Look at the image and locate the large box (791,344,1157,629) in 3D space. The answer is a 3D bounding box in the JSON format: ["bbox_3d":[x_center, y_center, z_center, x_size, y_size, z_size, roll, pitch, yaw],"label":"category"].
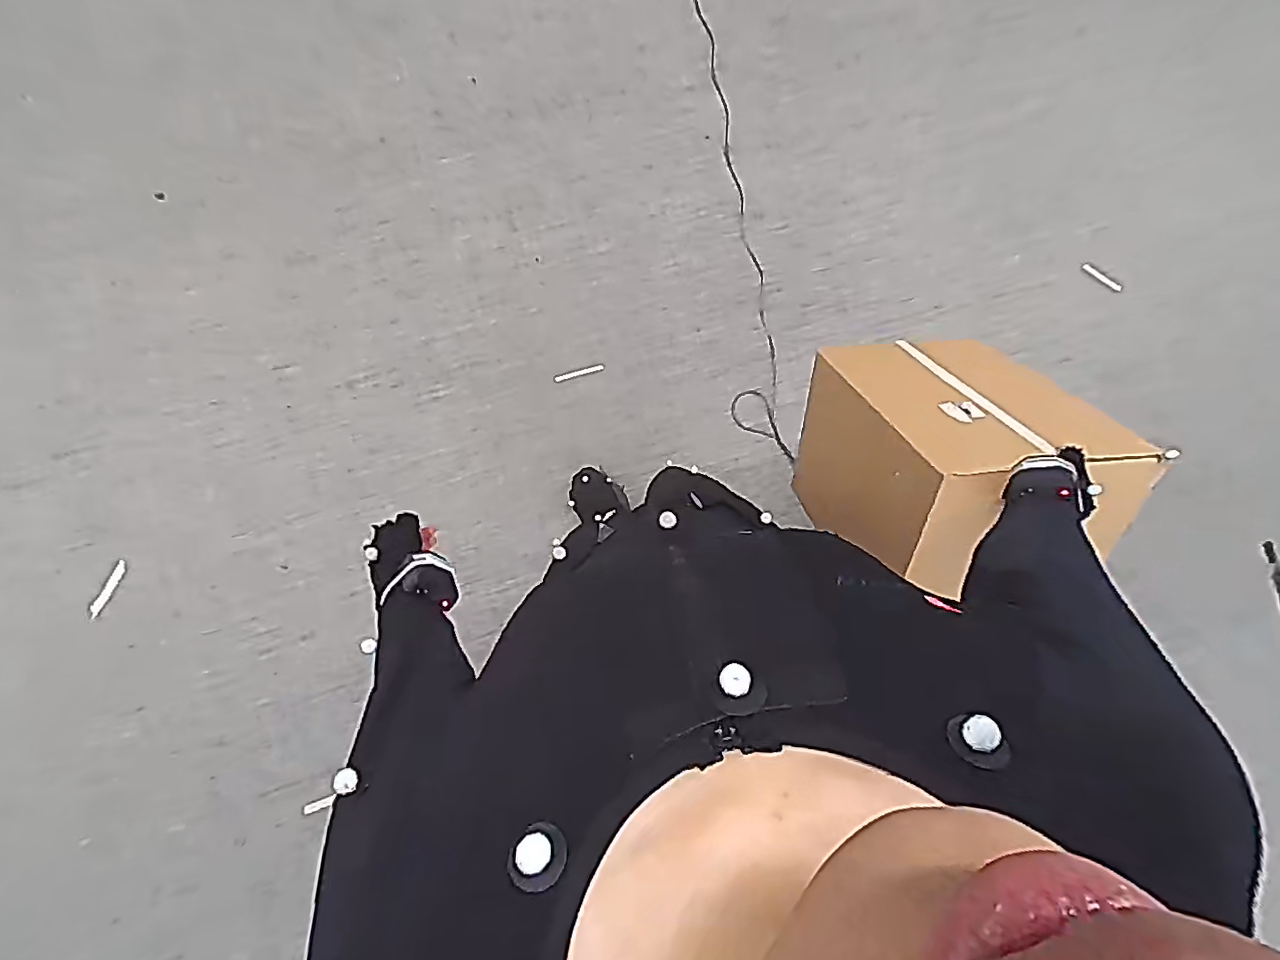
[{"bbox_3d":[0.502,-0.008,0.938,0.320,0.408,0.320,-5,128,-6],"label":"large box"}]
